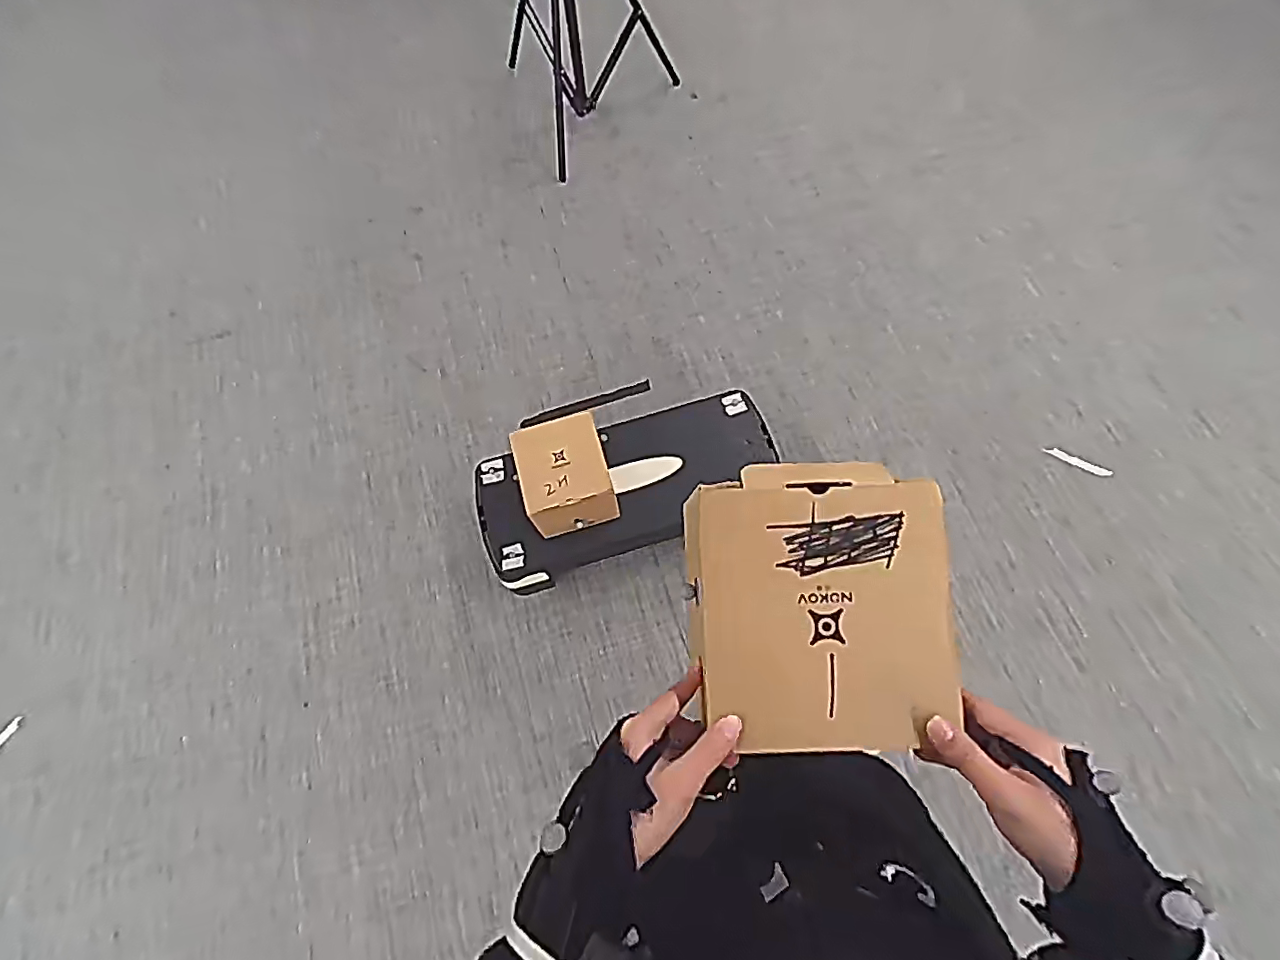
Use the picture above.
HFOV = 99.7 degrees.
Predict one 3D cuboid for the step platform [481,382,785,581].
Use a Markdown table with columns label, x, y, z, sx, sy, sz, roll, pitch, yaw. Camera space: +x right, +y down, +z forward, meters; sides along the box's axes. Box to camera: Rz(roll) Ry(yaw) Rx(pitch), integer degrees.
| label | x | y | z | sx | sy | sz | roll | pitch | yaw |
| --- | --- | --- | --- | --- | --- | --- | --- | --- | --- |
| step platform | -0.016 | 0.003 | 1.267 | 0.684 | 0.204 | 0.286 | -17 | 69 | -4 |

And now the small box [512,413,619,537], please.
| label | x | y | z | sx | sy | sz | roll | pitch | yaw |
| --- | --- | --- | --- | --- | --- | --- | --- | --- | --- |
| small box | -0.145 | -0.004 | 1.088 | 0.168 | 0.176 | 0.179 | -16 | 69 | -3 |

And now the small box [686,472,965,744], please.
| label | x | y | z | sx | sy | sz | roll | pitch | yaw |
| --- | --- | --- | --- | --- | --- | --- | --- | --- | --- |
| small box | 0.126 | 0.093 | 0.437 | 0.168 | 0.176 | 0.179 | -2 | 83 | 1 |
